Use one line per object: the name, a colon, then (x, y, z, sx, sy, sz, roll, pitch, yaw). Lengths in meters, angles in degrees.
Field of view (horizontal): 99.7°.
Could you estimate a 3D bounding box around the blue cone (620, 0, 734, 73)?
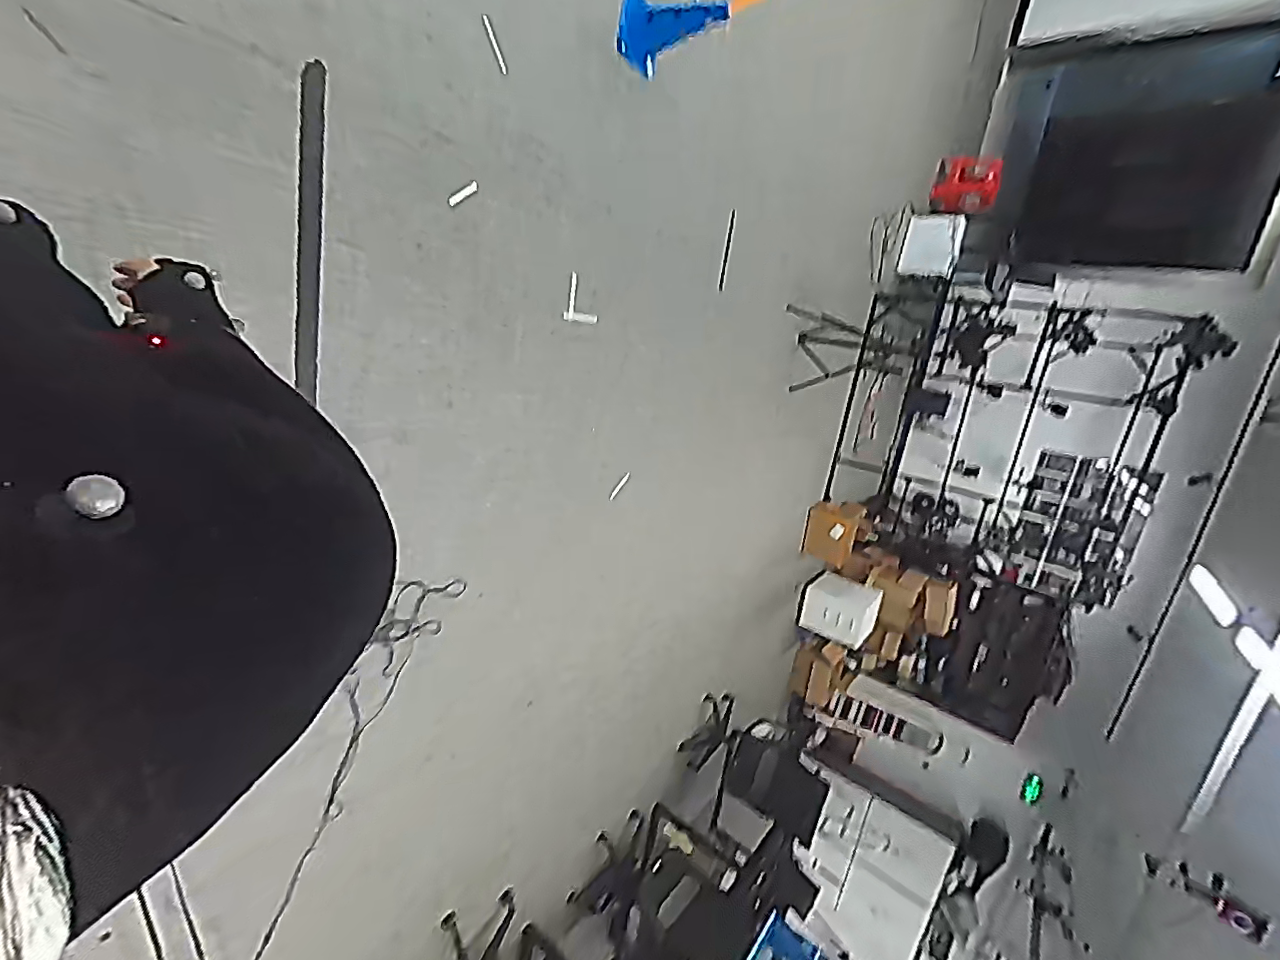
blue cone: (0.131, -1.471, 1.731, 0.193, 0.380, 0.192, -3, 109, -53)
